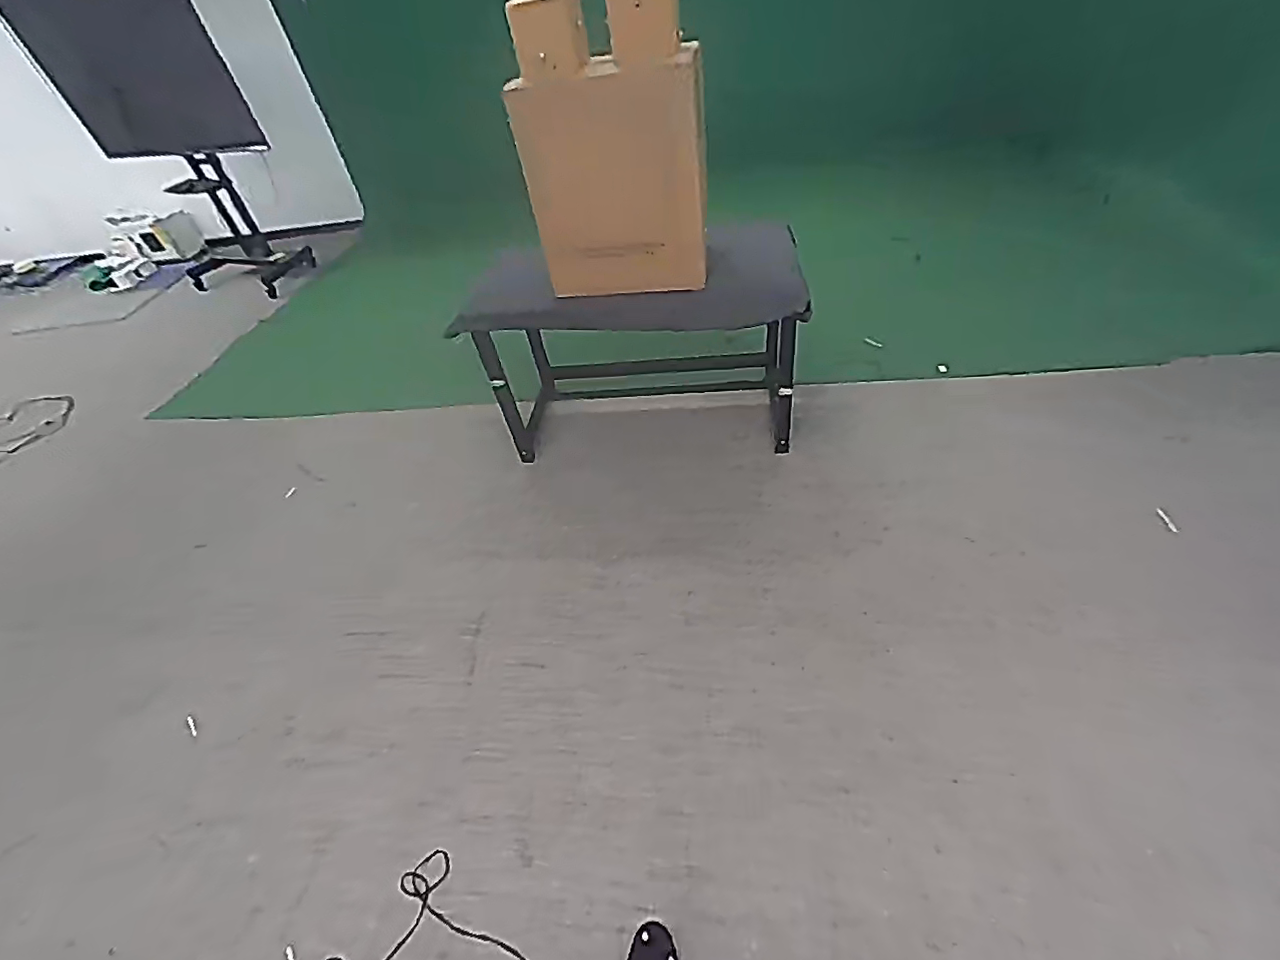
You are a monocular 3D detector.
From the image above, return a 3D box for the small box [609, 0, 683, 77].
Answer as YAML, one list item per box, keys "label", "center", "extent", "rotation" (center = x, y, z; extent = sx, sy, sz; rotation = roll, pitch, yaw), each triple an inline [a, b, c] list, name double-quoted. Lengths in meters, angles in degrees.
- label: "small box"
  center: [0.024, -1.248, 1.511]
  extent: [0.179, 0.176, 0.168]
  rotation: [2, 47, 10]

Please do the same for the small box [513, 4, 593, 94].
- label: "small box"
  center: [-0.239, -1.229, 1.546]
  extent: [0.168, 0.176, 0.179]
  rotation: [0, 47, 13]
